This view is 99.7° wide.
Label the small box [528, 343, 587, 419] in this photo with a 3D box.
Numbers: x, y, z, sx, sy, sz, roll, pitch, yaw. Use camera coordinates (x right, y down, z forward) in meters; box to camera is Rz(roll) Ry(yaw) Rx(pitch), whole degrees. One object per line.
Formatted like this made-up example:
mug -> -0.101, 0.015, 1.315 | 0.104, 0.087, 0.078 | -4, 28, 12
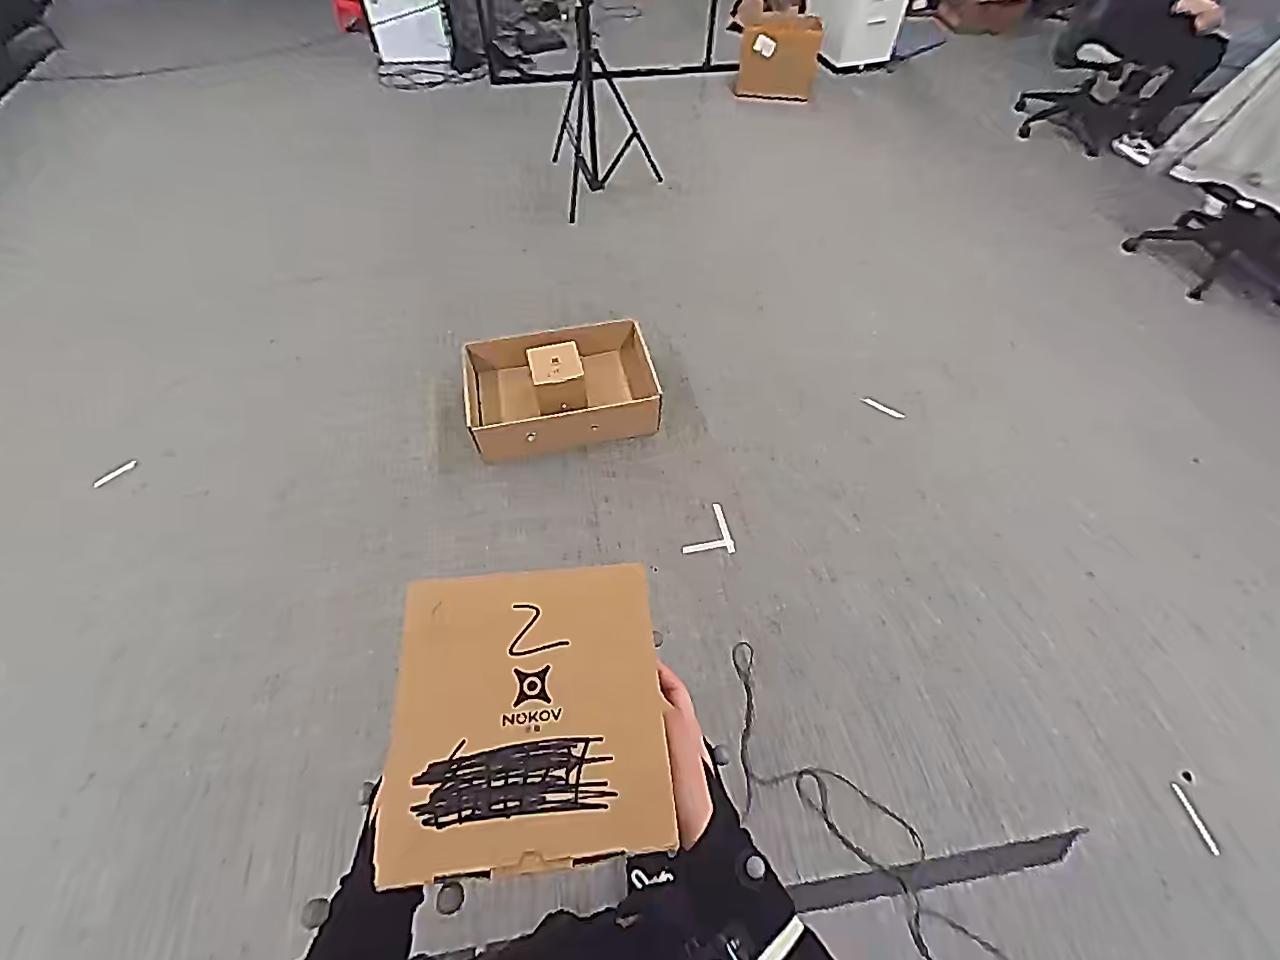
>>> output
small box -> -0.280, -0.337, 1.840 | 0.168, 0.176, 0.179 | -13, 57, -9
